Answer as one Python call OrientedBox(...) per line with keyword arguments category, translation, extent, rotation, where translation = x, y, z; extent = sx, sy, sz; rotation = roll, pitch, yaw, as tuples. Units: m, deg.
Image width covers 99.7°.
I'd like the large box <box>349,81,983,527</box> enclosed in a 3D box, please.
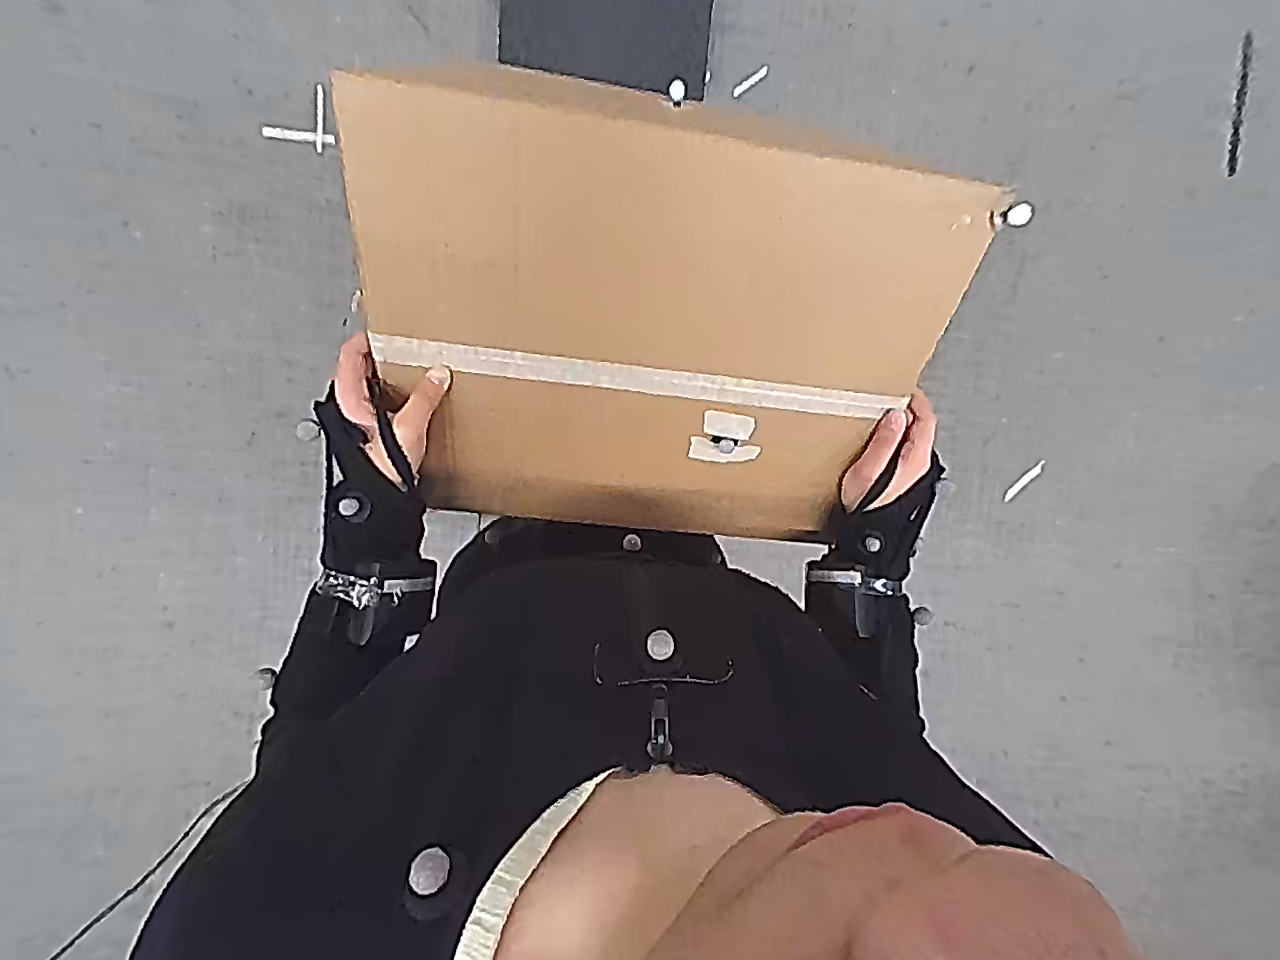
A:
OrientedBox(category="large box", translation=(0.001, -0.177, 0.536), extent=(0.408, 0.320, 0.320), rotation=(4, 129, -7))
